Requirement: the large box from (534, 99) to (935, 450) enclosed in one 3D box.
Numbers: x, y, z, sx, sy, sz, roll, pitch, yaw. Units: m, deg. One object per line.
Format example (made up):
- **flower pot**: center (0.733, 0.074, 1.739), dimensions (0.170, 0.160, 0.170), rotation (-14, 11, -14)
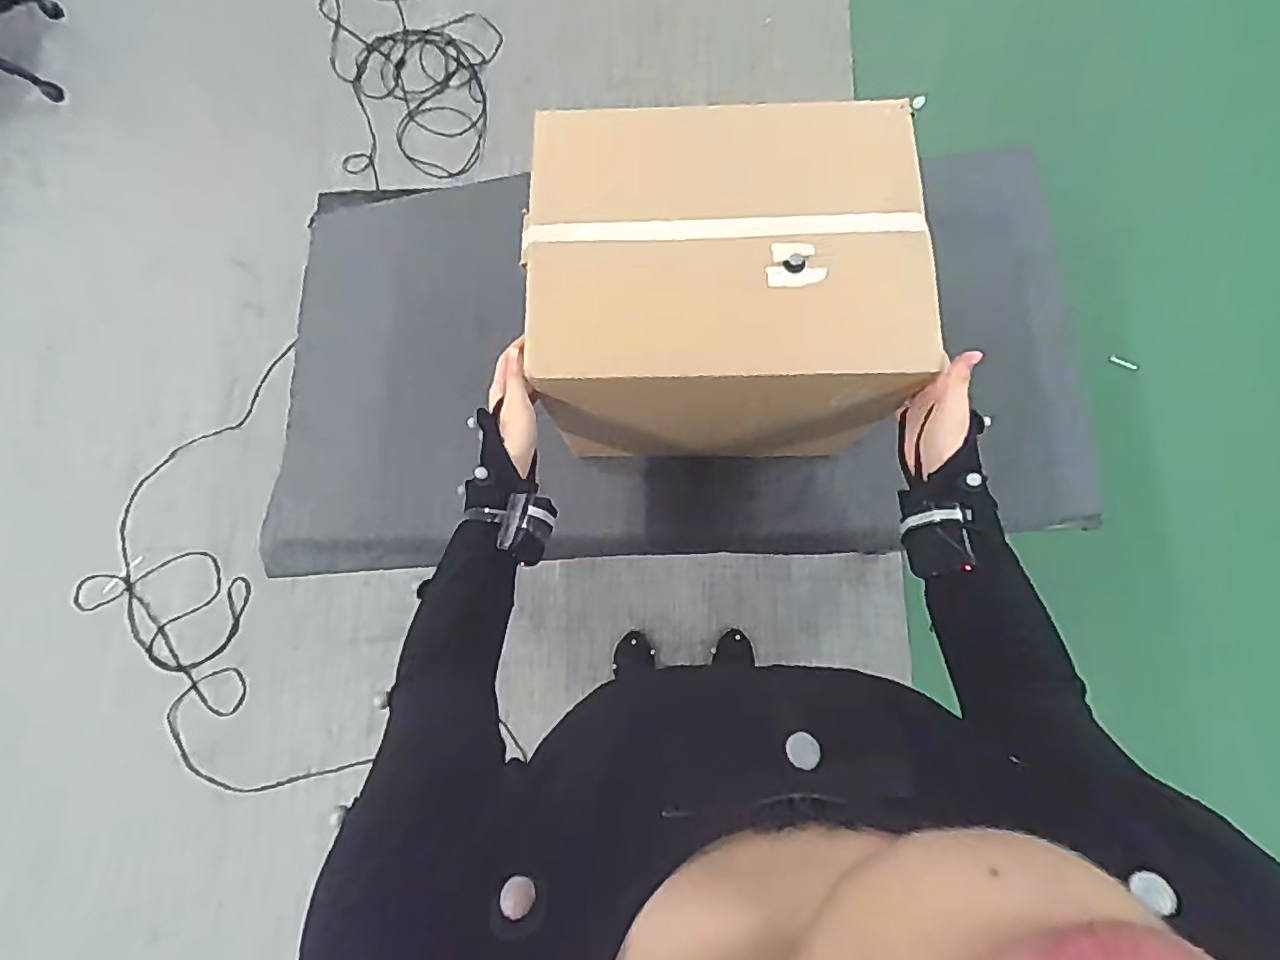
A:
- **large box**: center (0.092, -0.230, 0.708), dimensions (0.408, 0.320, 0.320), rotation (-1, 79, 2)
